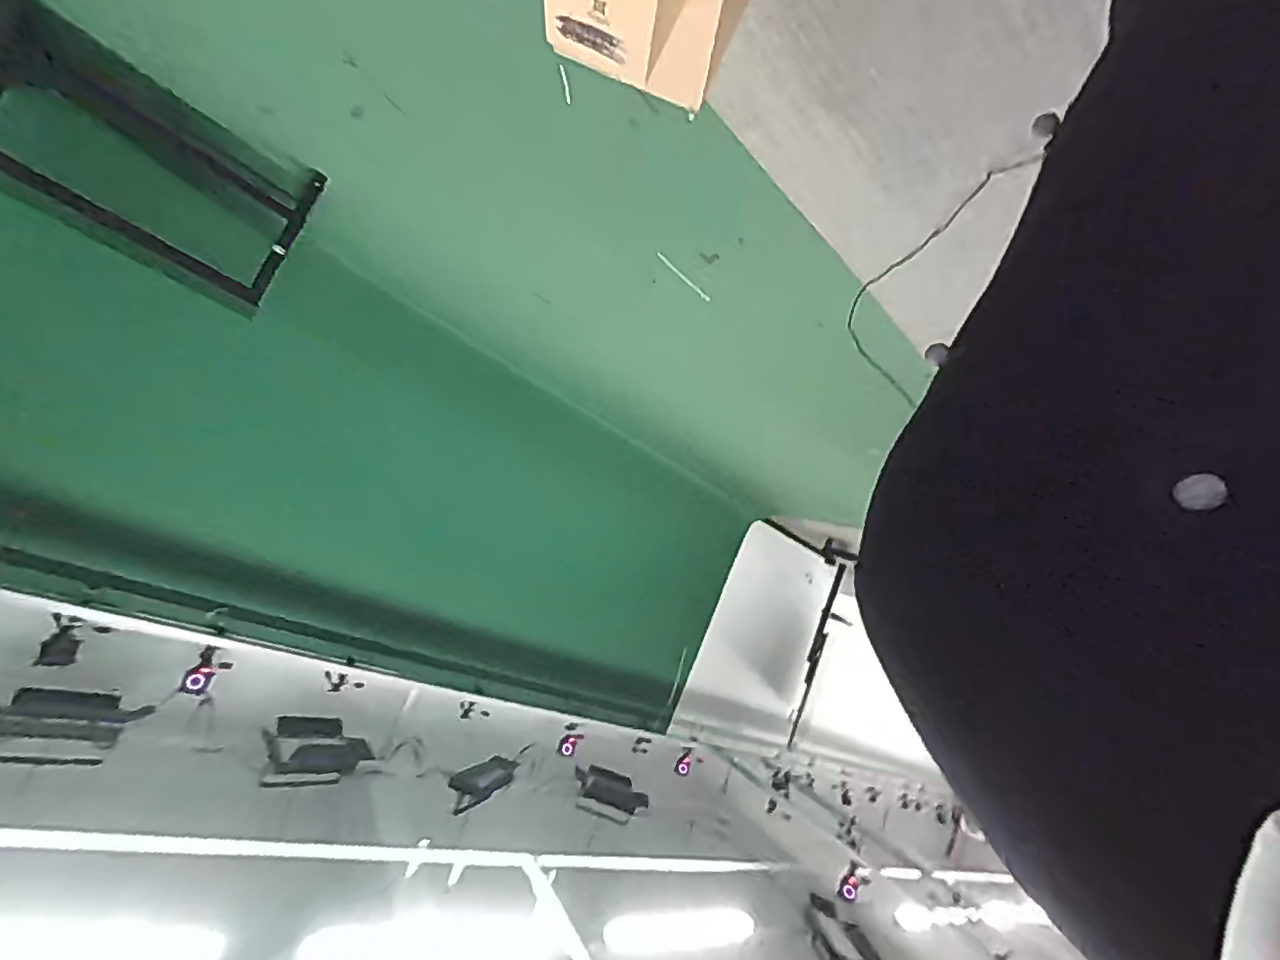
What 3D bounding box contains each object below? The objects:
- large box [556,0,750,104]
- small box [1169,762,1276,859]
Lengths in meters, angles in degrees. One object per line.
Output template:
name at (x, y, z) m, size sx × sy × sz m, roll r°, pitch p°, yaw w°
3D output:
large box at (0.052, -0.949, 0.874) m, size 0.320 × 0.320 × 0.408 m, roll 24°, pitch 173°, yaw 0°
small box at (1.610, 0.907, 1.495) m, size 0.179 × 0.176 × 0.168 m, roll 29°, pitch 171°, yaw -31°
